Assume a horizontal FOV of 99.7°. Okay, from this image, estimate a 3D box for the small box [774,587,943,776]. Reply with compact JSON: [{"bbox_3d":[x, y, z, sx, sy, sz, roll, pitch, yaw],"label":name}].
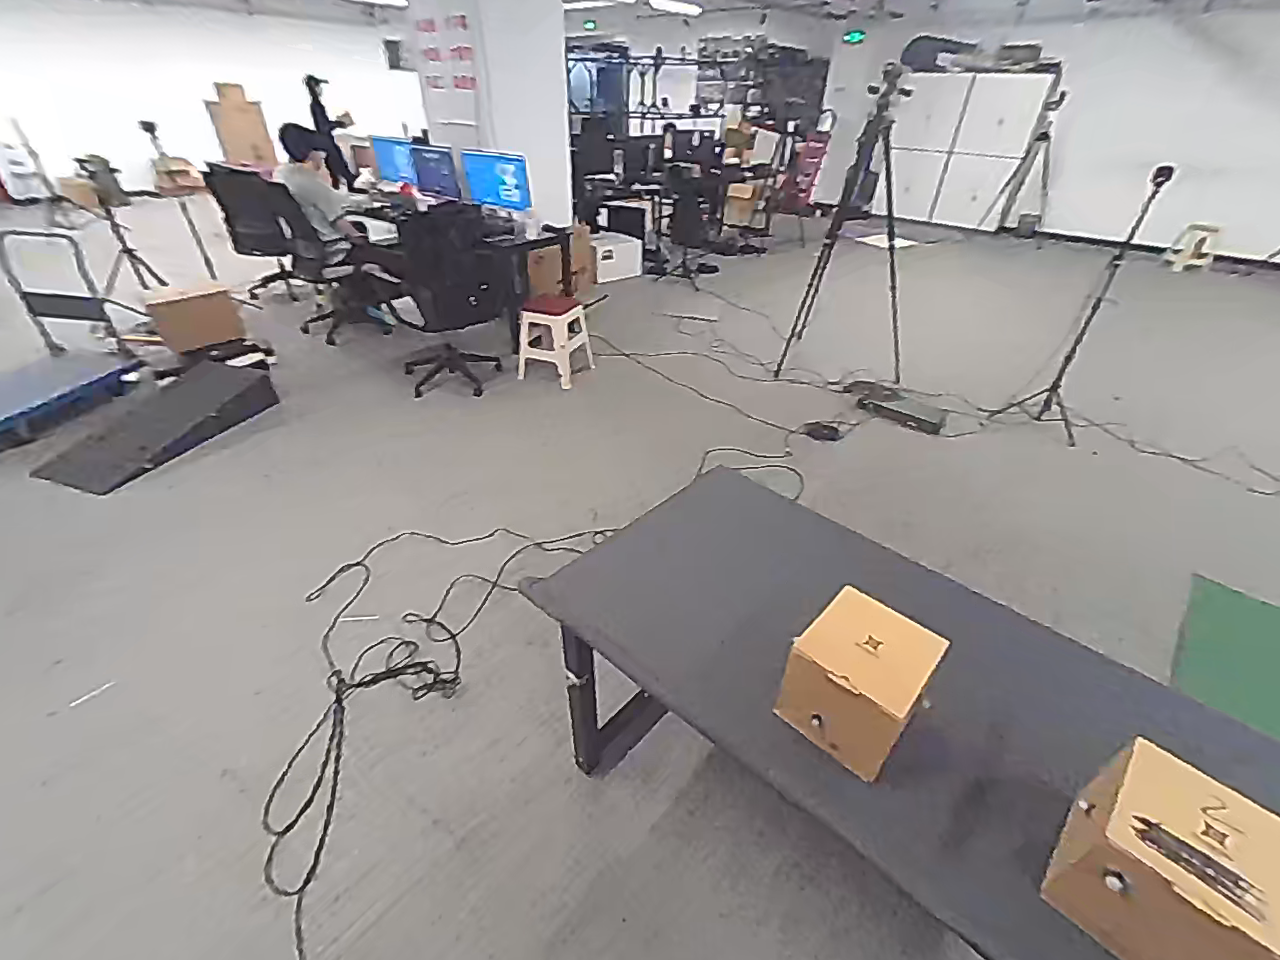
[{"bbox_3d":[0.330,0.308,0.840,0.168,0.176,0.179,31,44,32],"label":"small box"}]
